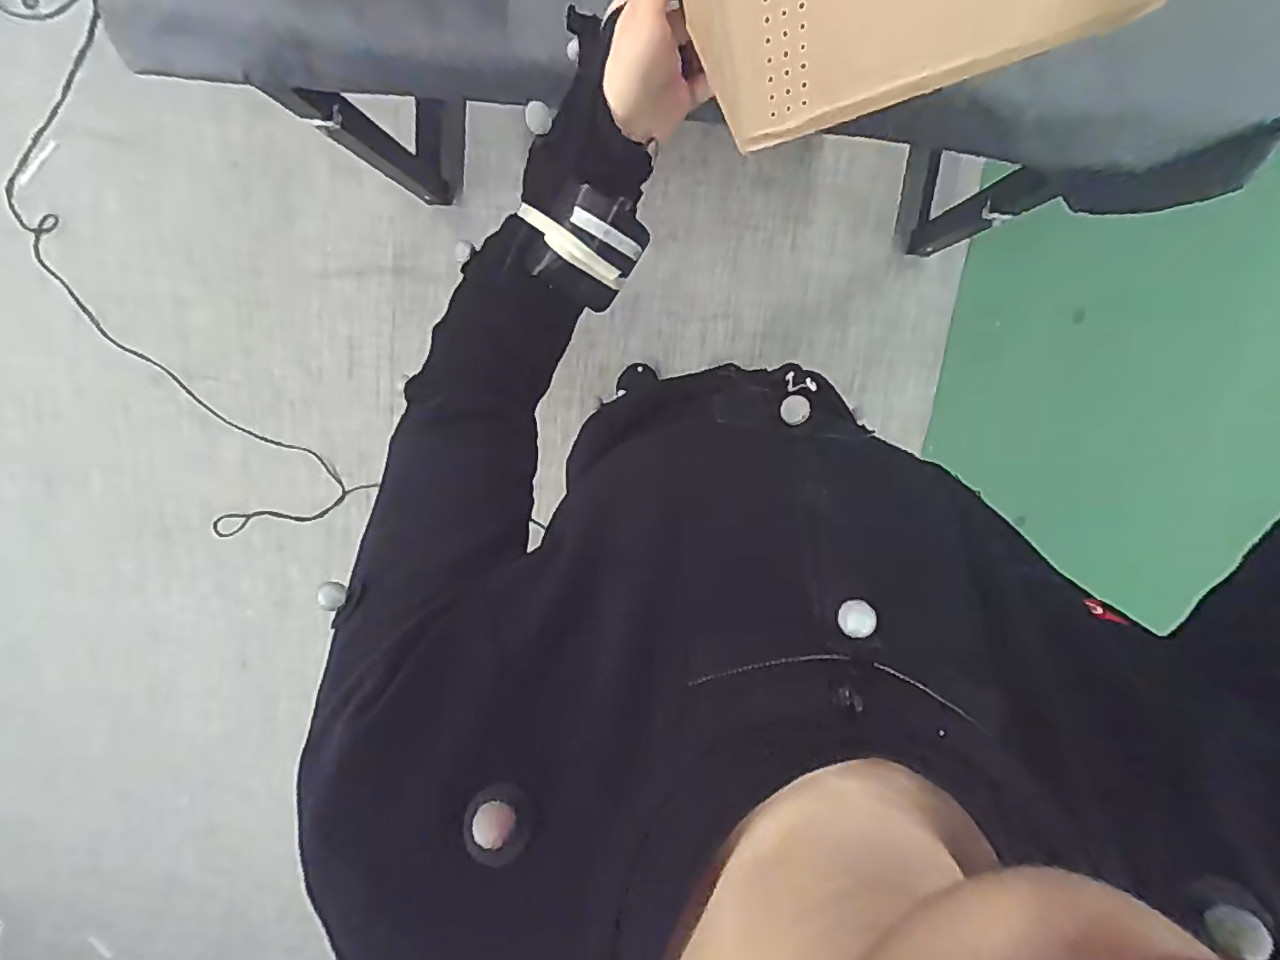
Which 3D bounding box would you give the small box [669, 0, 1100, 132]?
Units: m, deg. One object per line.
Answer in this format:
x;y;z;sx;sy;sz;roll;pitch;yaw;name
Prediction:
0.086;-0.271;0.190;0.176;0.179;0.168;-14;58;9;small box
